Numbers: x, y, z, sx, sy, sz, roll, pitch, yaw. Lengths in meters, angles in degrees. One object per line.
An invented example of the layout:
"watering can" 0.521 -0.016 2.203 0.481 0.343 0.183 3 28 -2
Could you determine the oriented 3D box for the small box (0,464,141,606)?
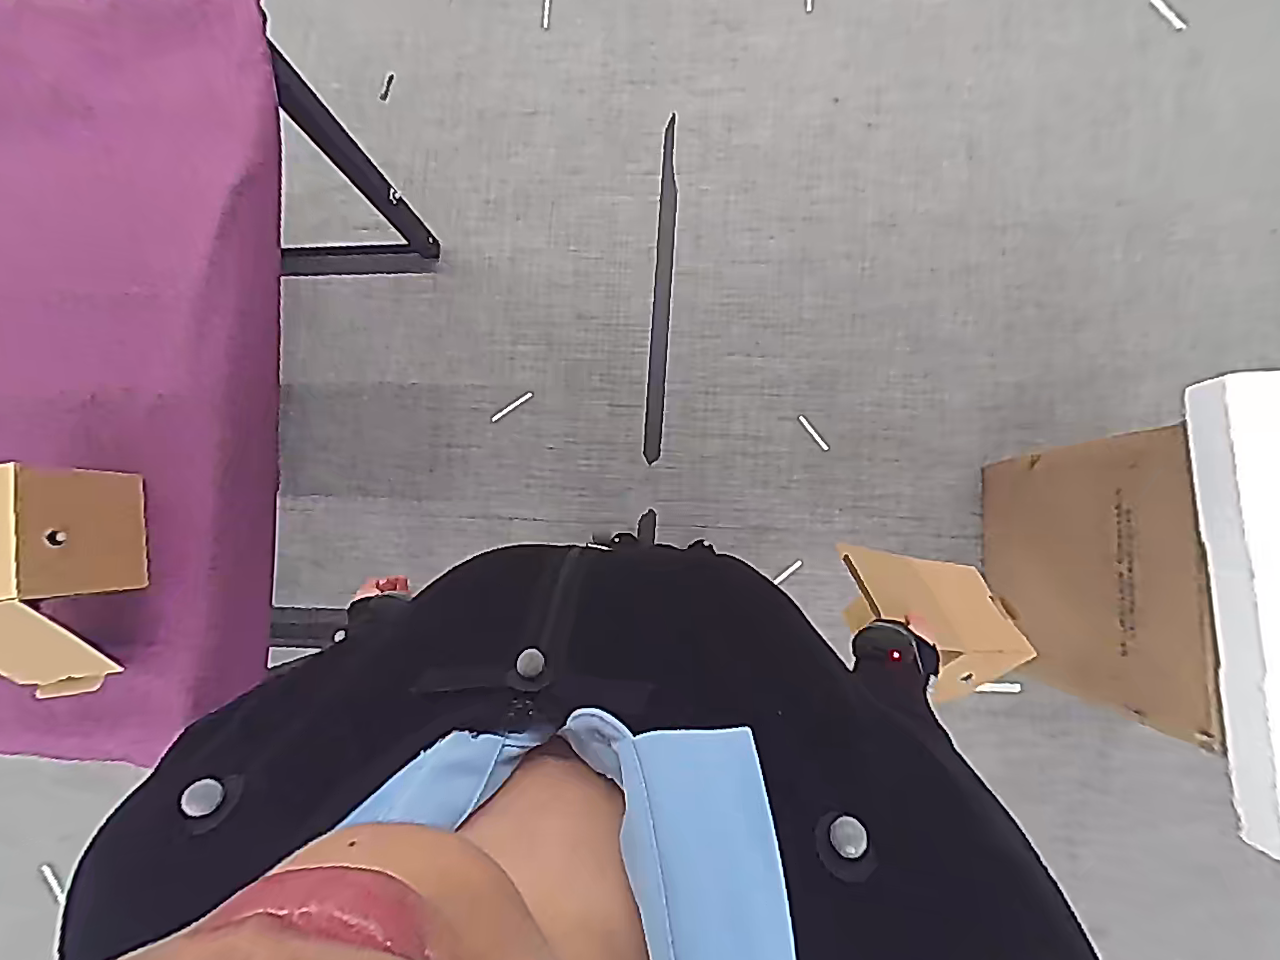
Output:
"small box" -0.844 0.081 0.748 0.168 0.176 0.179 -8 84 2
